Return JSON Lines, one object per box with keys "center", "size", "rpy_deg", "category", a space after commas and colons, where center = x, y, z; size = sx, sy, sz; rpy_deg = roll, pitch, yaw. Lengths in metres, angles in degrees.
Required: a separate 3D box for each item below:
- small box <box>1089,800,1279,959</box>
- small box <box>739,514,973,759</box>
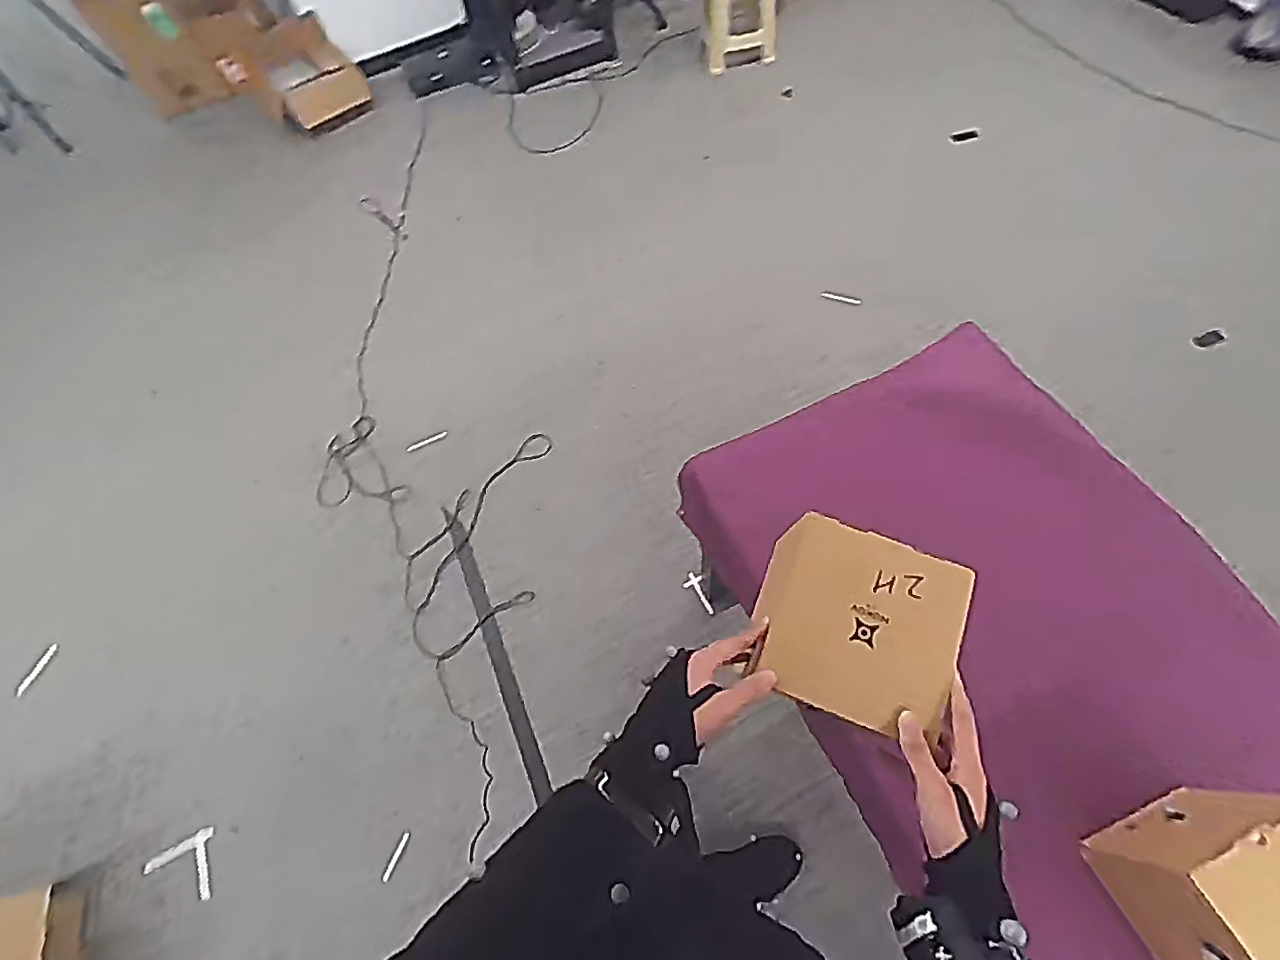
{"center": [0.639, 0.459, 0.557], "size": [0.168, 0.176, 0.179], "rpy_deg": [-22, 63, -6], "category": "small box"}
{"center": [0.211, 0.161, 0.575], "size": [0.168, 0.176, 0.179], "rpy_deg": [20, 74, 8], "category": "small box"}
